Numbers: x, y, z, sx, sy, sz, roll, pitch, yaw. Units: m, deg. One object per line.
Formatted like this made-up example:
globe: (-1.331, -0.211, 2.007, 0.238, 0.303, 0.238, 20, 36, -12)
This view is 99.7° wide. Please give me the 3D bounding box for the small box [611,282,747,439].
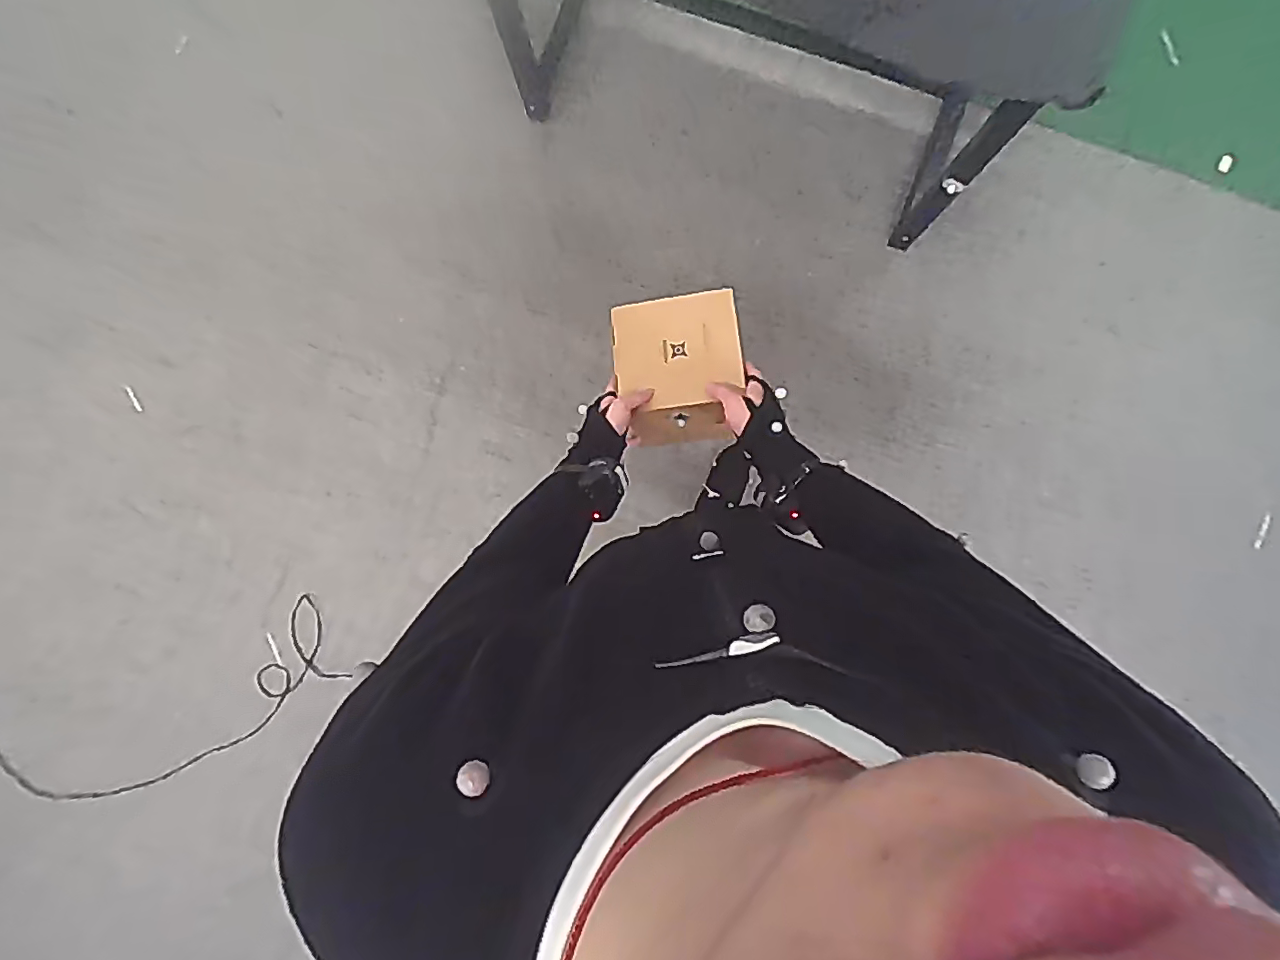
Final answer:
small box: (0.061, -0.170, 0.821, 0.179, 0.176, 0.168, -7, 77, 6)
